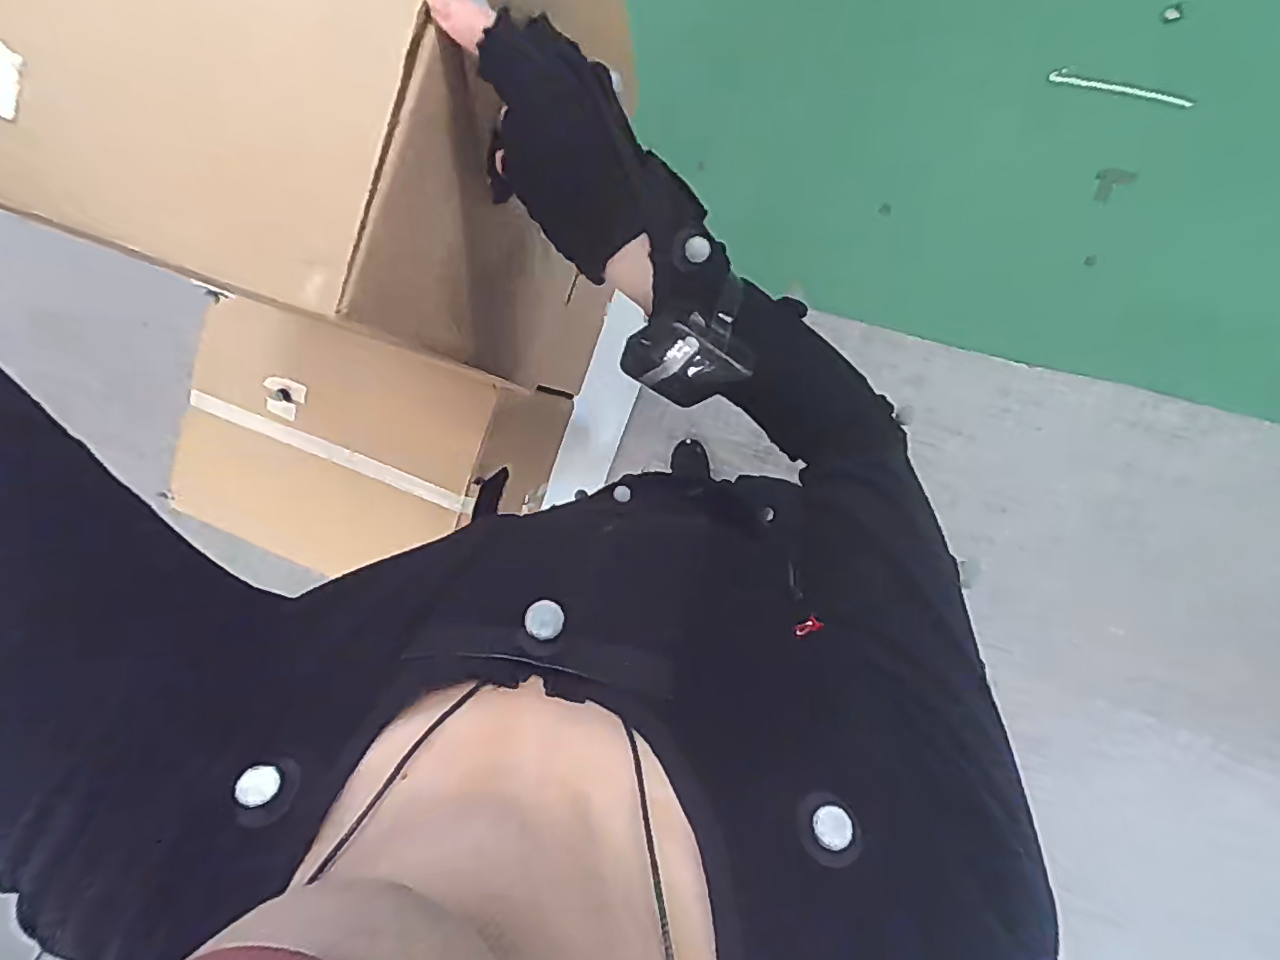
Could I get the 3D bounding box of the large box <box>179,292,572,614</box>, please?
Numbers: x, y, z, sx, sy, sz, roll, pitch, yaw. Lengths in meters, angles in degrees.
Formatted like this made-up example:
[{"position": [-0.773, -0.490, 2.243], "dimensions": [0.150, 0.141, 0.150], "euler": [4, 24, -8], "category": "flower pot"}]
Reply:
[{"position": [-0.368, -0.047, 0.831], "dimensions": [0.408, 0.320, 0.320], "euler": [20, 96, 9], "category": "large box"}]
